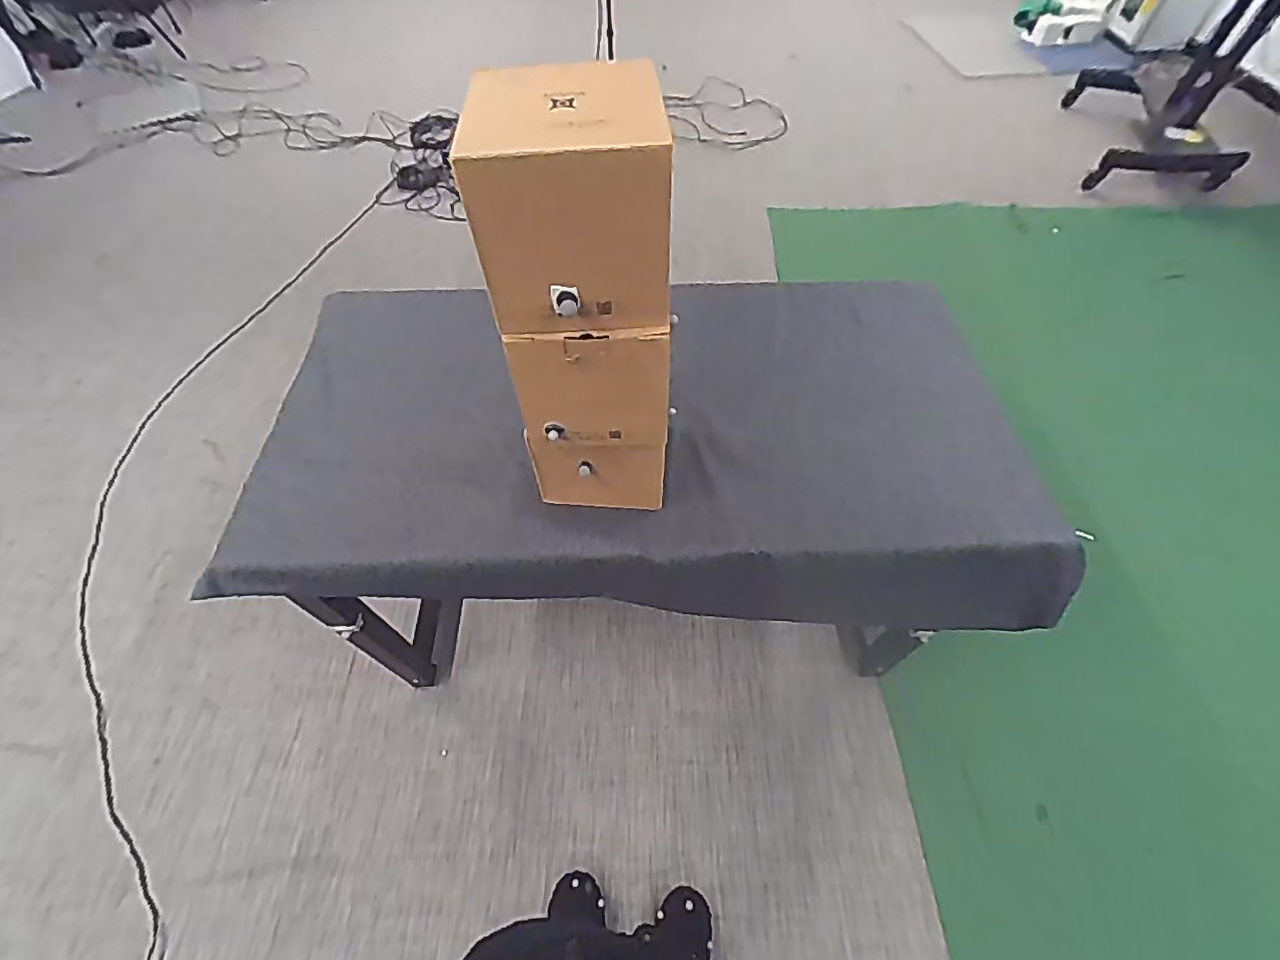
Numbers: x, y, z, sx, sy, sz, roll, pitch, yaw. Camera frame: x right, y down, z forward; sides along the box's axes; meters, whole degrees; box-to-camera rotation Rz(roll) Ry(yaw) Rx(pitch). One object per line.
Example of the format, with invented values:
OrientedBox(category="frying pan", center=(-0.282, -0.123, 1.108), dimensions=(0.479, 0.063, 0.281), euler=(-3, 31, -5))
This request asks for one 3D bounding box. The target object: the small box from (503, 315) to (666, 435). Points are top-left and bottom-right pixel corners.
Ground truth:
OrientedBox(category="small box", center=(-0.057, -0.166, 0.644), dimensions=(0.168, 0.176, 0.179), euler=(-4, 57, -1))

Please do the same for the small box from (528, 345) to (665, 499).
OrientedBox(category="small box", center=(-0.052, -0.084, 0.790), dimensions=(0.179, 0.176, 0.168), euler=(1, 54, 1))

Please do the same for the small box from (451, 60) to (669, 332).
OrientedBox(category="small box", center=(-0.064, -0.266, 0.517), dimensions=(0.168, 0.176, 0.179), euler=(-5, 56, -1))
